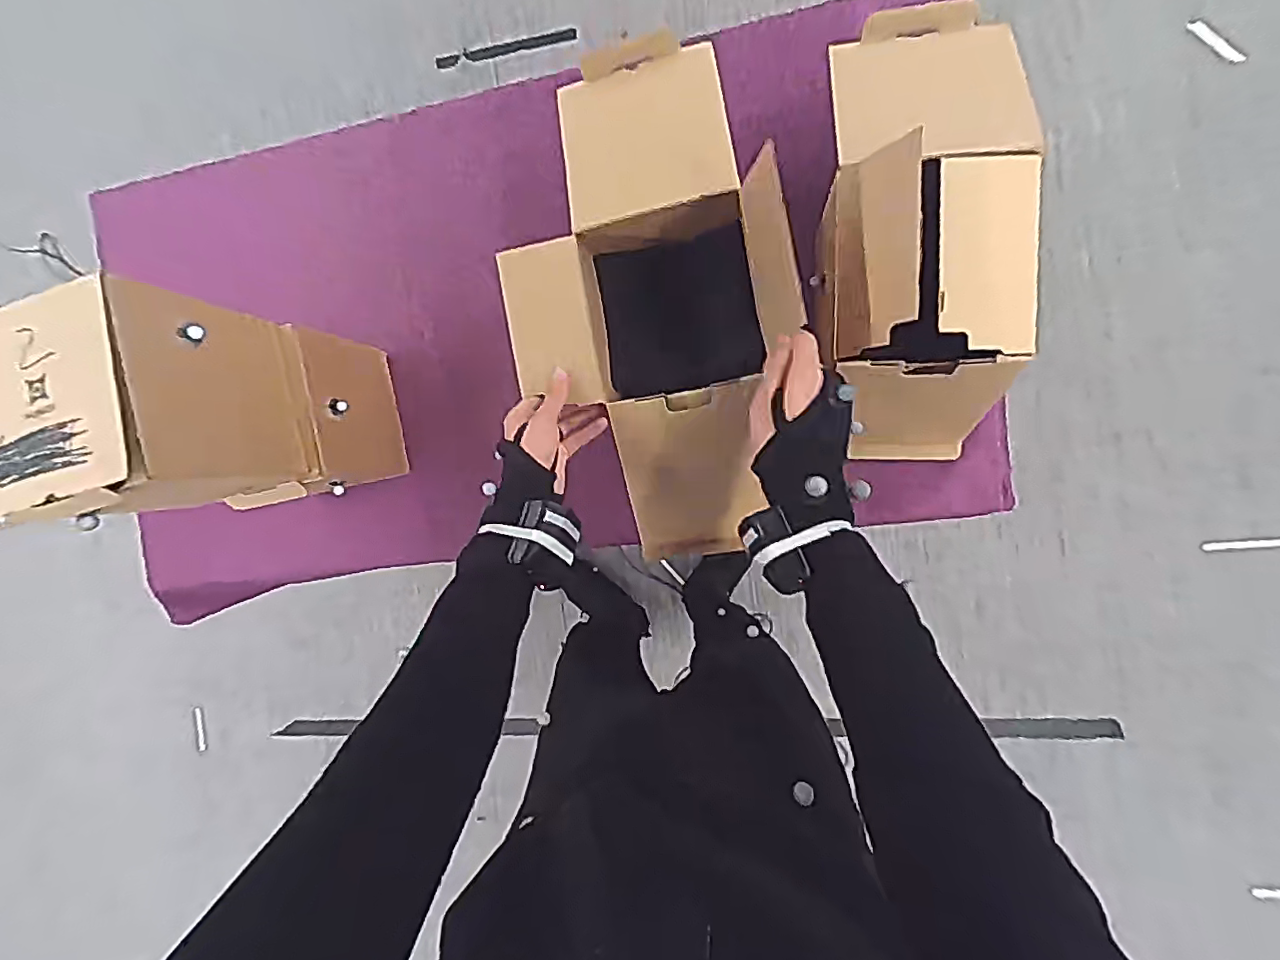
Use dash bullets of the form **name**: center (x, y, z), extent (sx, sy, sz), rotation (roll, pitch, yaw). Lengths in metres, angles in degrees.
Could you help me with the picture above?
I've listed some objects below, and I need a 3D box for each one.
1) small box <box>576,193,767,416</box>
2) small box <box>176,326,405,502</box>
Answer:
- **small box**: center (0.042, -0.173, 0.593), extent (0.168, 0.176, 0.179), rotation (-9, 91, 12)
- **small box**: center (-0.426, -0.077, 0.687), extent (0.168, 0.176, 0.179), rotation (-10, 91, 10)
